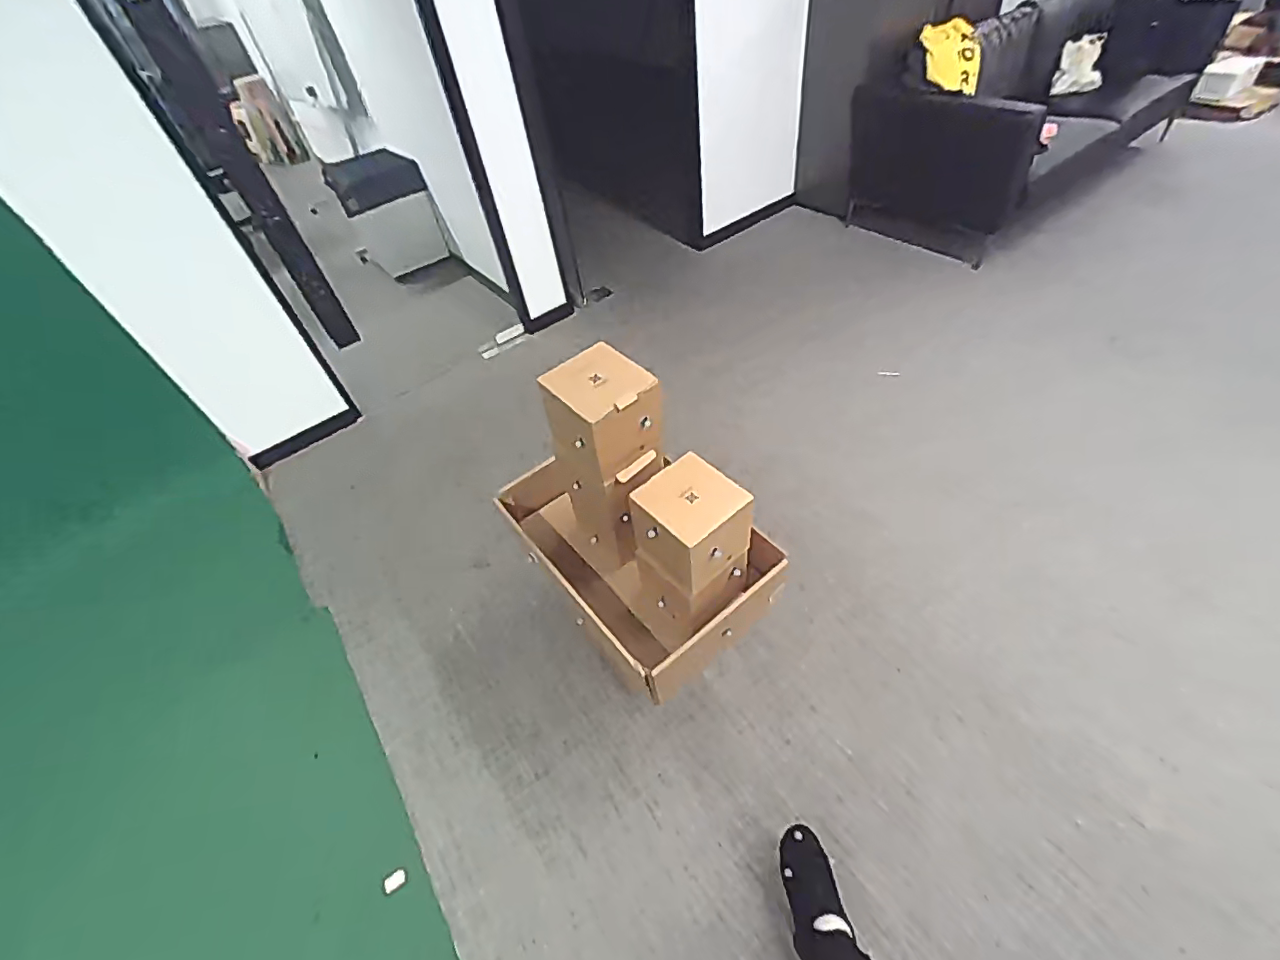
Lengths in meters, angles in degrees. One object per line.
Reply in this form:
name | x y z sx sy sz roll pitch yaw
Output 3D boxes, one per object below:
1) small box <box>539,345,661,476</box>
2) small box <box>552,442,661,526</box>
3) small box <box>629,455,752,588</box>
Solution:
small box | -0.072 -0.131 1.074 0.168 0.176 0.179 -35 55 -22
small box | -0.064 -0.023 1.196 0.168 0.176 0.179 -38 56 -24
small box | 0.103 0.089 1.070 0.168 0.176 0.179 -35 52 -22
